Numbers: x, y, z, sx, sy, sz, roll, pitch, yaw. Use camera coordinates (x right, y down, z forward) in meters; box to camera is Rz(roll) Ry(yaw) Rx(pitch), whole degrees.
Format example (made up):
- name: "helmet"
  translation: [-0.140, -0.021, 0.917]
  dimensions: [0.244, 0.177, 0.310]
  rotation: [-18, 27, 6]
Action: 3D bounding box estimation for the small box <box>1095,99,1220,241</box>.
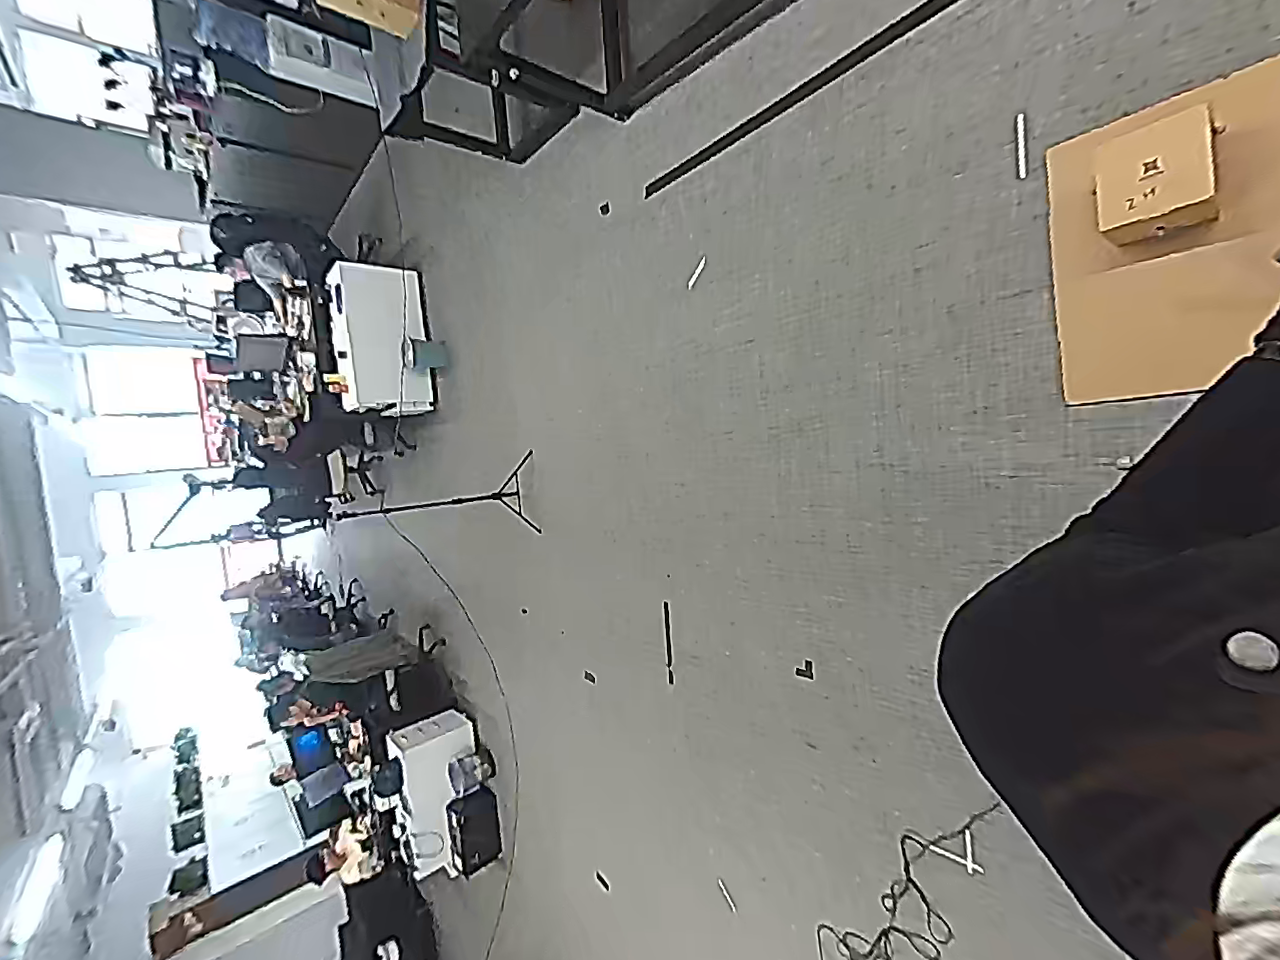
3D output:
- name: "small box"
  translation: [1.037, -0.605, 1.083]
  dimensions: [0.168, 0.176, 0.179]
  rotation: [-3, 94, 50]
